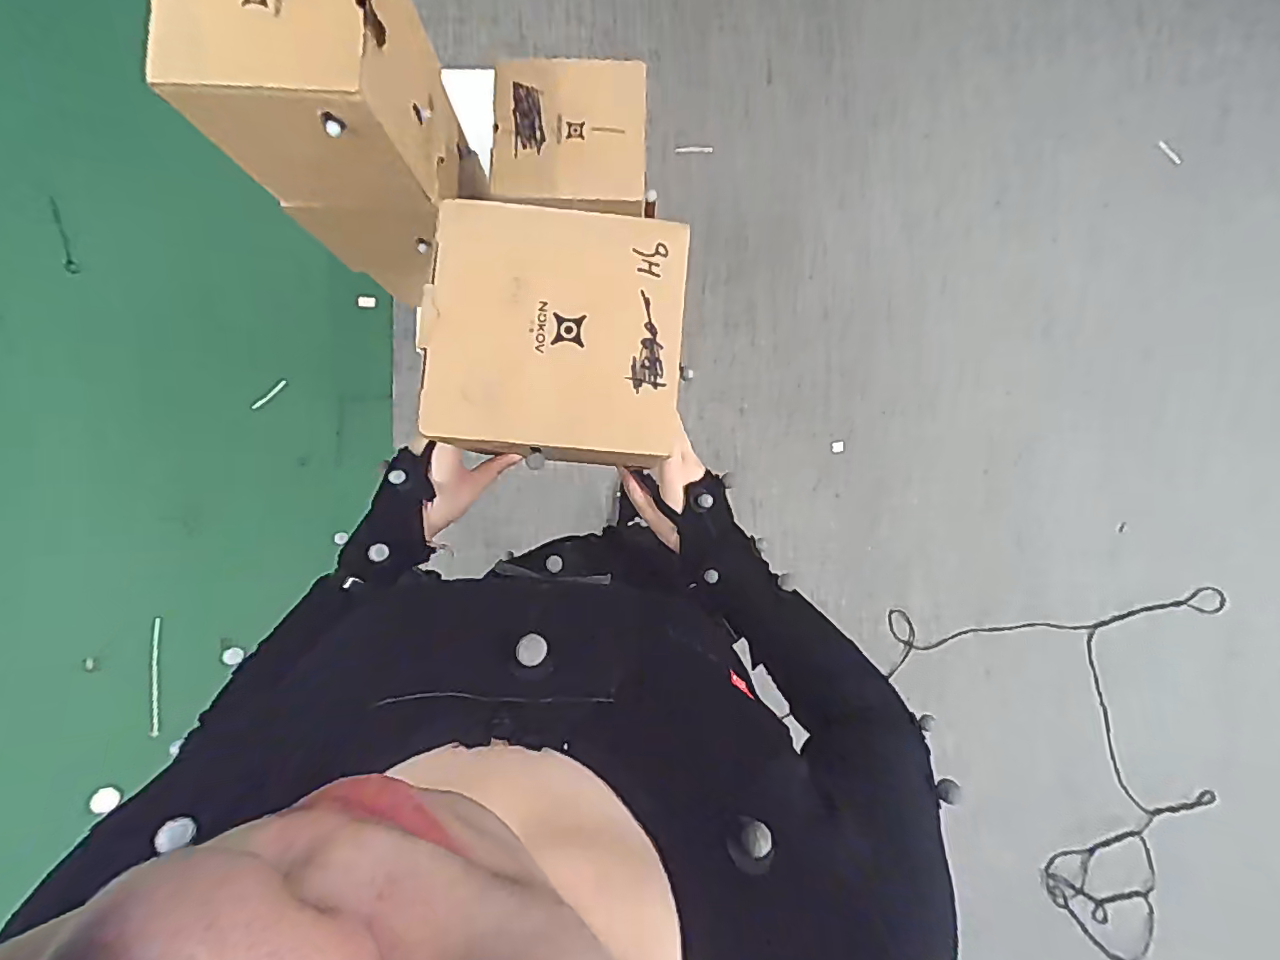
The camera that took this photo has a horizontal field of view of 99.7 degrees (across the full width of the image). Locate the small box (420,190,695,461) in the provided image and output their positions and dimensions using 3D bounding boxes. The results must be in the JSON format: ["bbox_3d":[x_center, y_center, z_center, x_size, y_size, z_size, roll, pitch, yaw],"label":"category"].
[{"bbox_3d":[-0.059,-0.107,0.450,0.179,0.176,0.168,5,88,-3],"label":"small box"}]

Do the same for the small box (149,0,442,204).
[{"bbox_3d":[-0.311,-0.393,0.524,0.179,0.176,0.168,1,86,-3],"label":"small box"}]

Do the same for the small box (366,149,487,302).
[{"bbox_3d":[-0.321,-0.387,0.850,0.168,0.176,0.179,0,87,-4],"label":"small box"}]

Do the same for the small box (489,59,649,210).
[{"bbox_3d":[-0.080,-0.390,0.692,0.179,0.176,0.168,2,87,-1],"label":"small box"}]

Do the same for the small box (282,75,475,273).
[{"bbox_3d":[-0.315,-0.379,0.687,0.179,0.176,0.168,-1,86,-2],"label":"small box"}]
